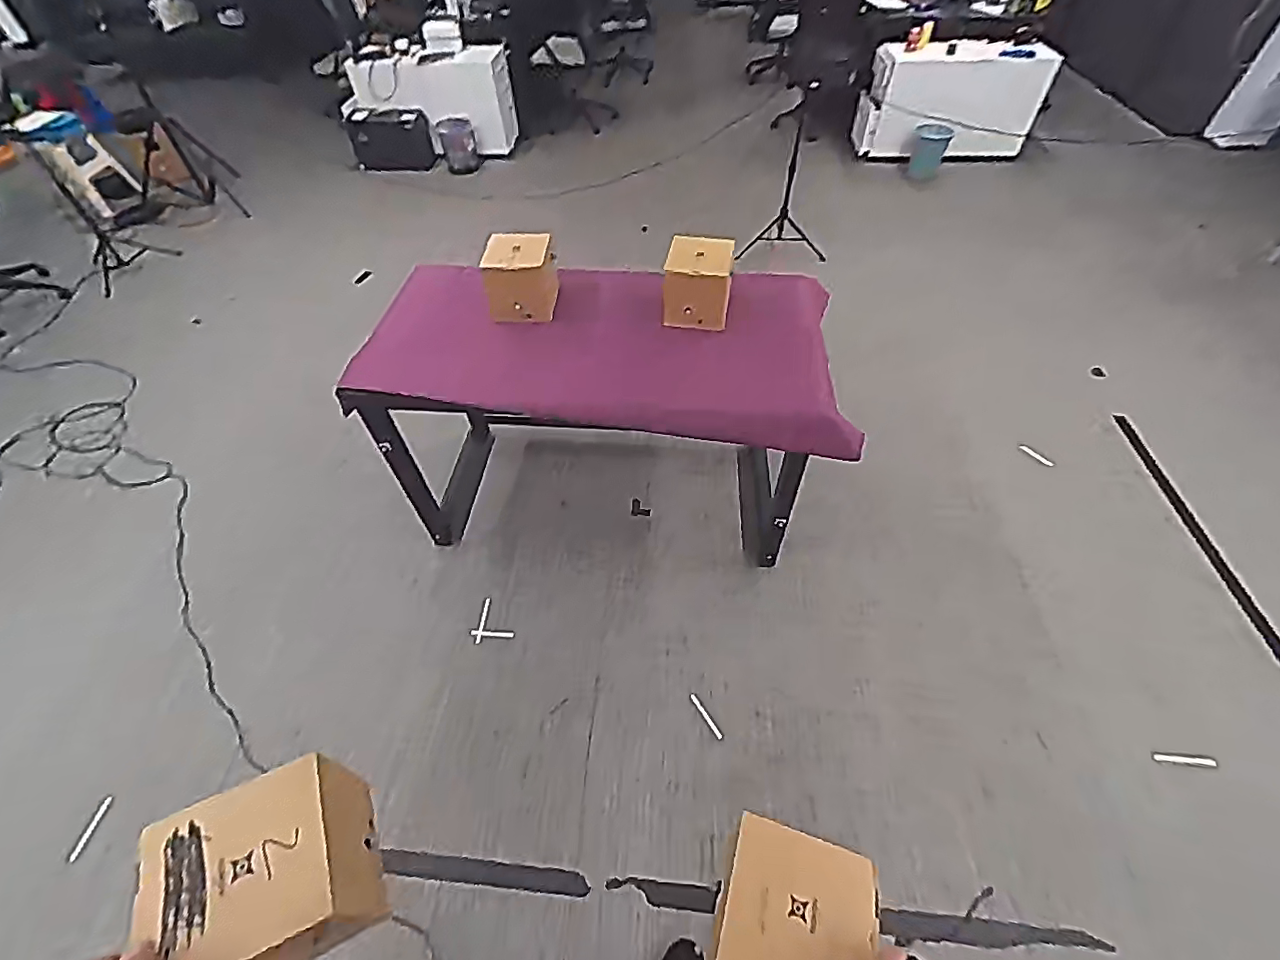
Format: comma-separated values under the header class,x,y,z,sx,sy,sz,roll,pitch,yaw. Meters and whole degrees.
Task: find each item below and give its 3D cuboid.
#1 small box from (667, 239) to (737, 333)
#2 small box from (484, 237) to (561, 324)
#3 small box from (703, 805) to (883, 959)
class,x,y,z,sx,sy,sz,roll,pitch,yaw
small box,0.167,-0.529,1.473,0.168,0.176,0.179,8,53,9
small box,-0.319,-0.558,1.511,0.168,0.176,0.179,1,51,3
small box,0.191,0.559,0.690,0.179,0.176,0.168,15,42,13
